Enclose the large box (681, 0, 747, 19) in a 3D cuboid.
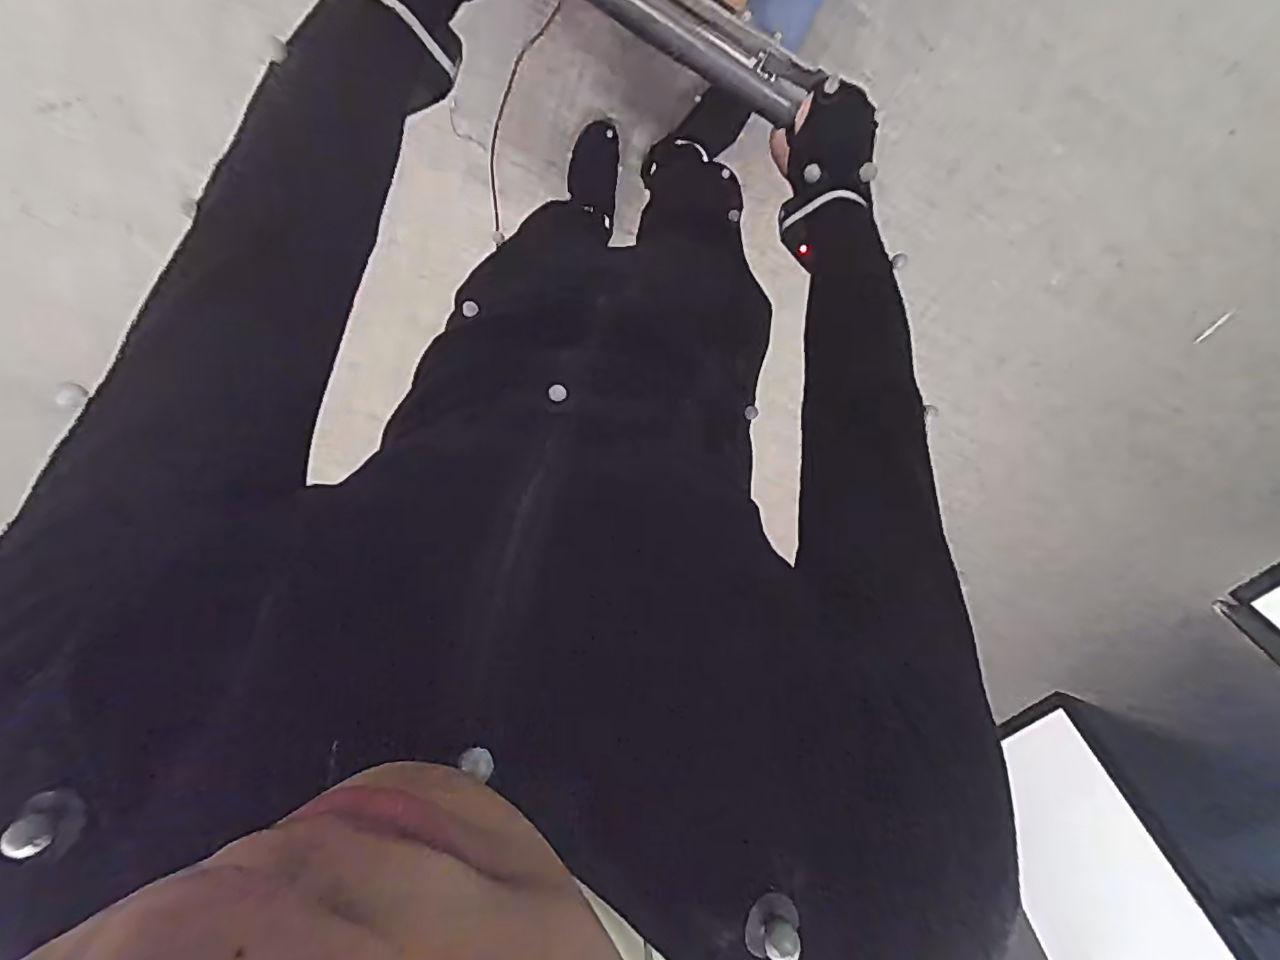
[{"bbox_3d":[0.088,-0.950,0.734,0.320,0.320,0.408,20,124,-19],"label":"large box"}]
